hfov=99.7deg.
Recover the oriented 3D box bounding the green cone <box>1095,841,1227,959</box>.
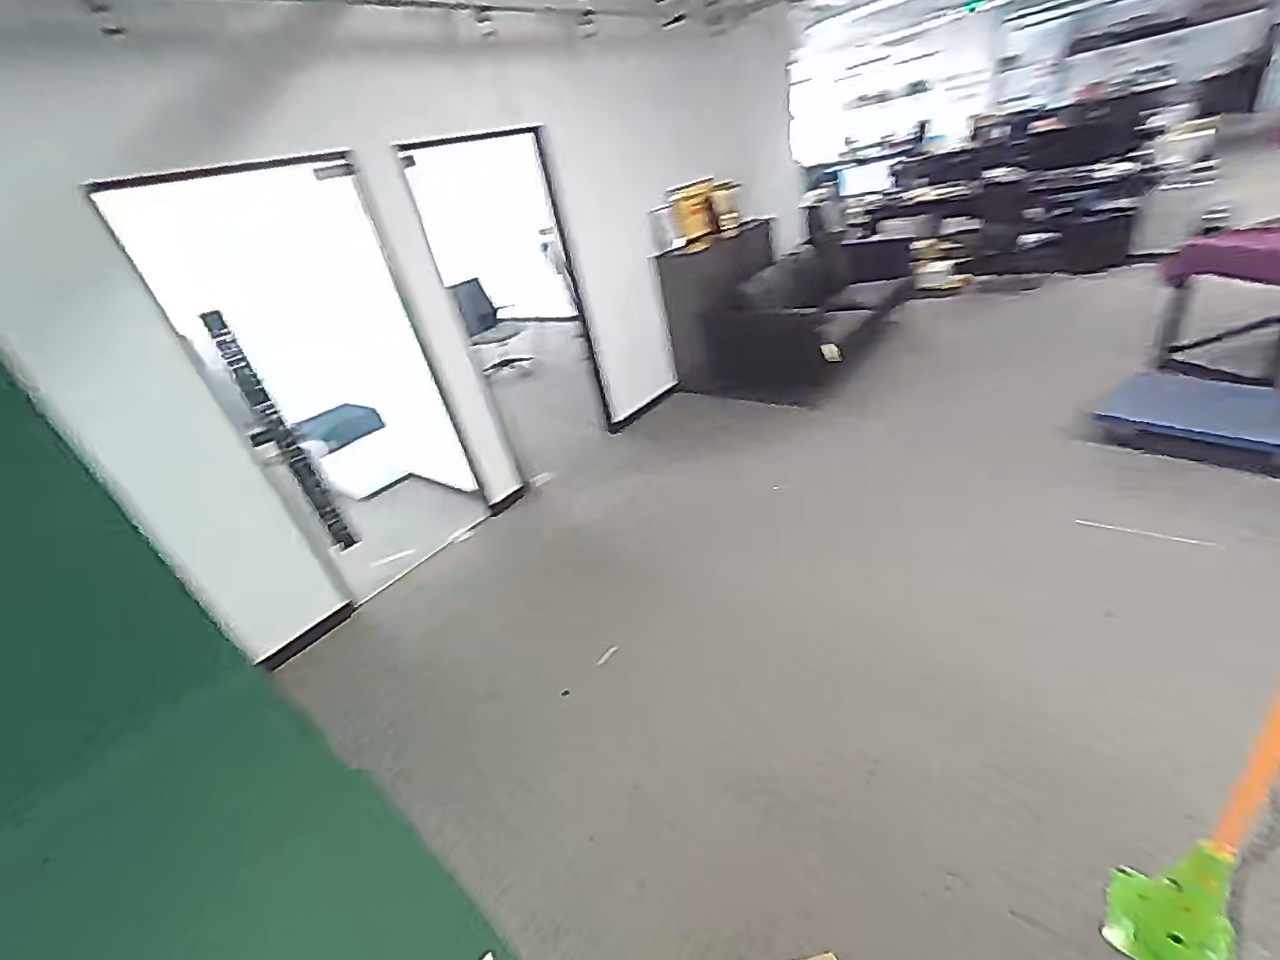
[{"bbox_3d":[1.142,0.875,1.144,0.202,0.368,0.200,16,41,39],"label":"green cone"}]
